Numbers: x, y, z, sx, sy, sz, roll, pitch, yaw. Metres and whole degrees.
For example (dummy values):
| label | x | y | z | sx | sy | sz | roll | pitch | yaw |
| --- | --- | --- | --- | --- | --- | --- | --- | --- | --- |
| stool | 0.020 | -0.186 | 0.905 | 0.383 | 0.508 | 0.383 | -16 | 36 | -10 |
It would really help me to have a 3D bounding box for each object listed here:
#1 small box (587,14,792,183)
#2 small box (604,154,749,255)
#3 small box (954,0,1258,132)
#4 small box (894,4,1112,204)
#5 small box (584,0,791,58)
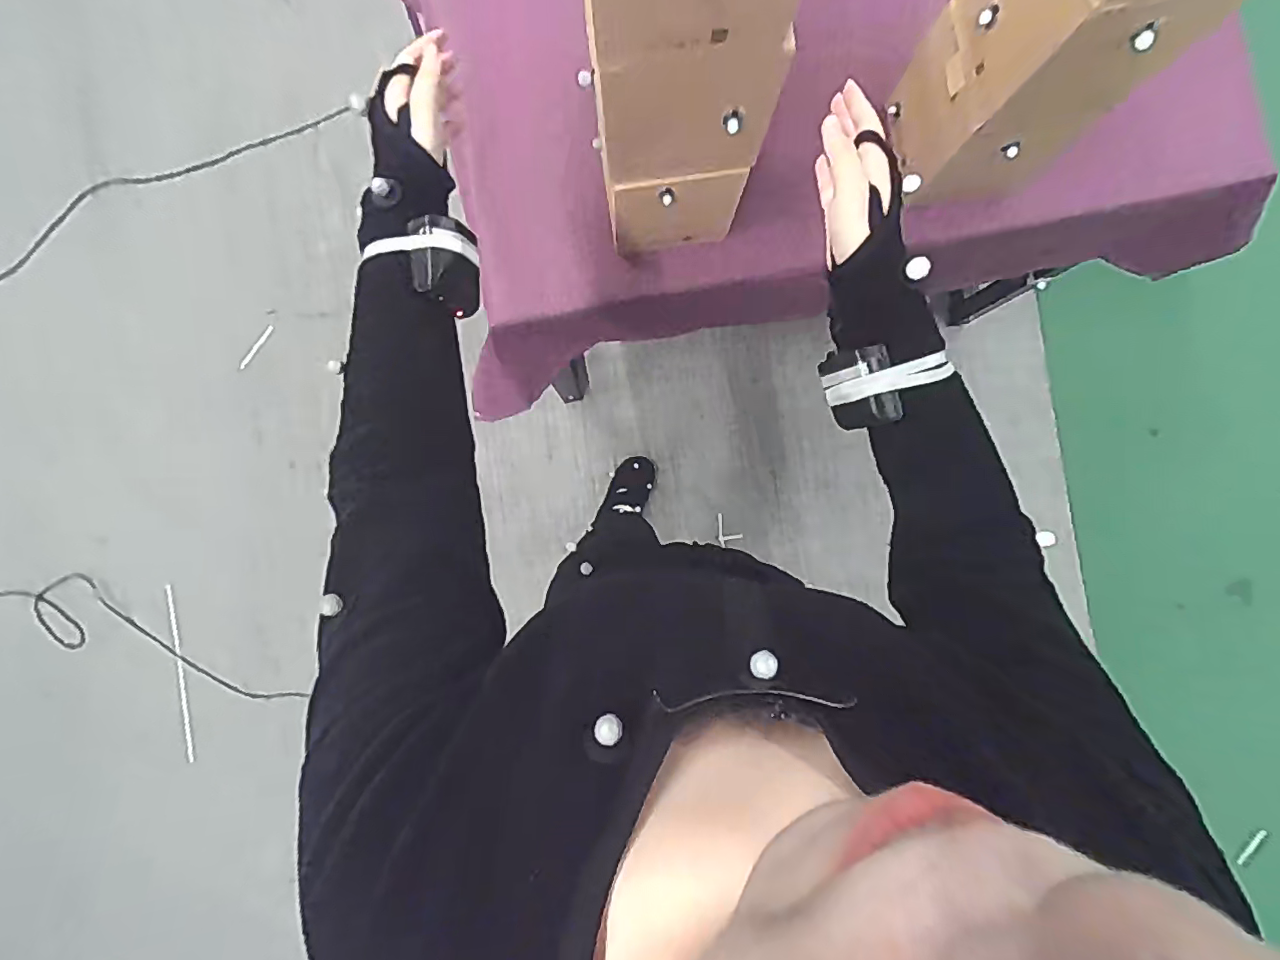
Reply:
| label | x | y | z | sx | sy | sz | roll | pitch | yaw |
| --- | --- | --- | --- | --- | --- | --- | --- | --- | --- |
| small box | 0.038 | -0.438 | 0.556 | 0.179 | 0.176 | 0.168 | -7 | 87 | -1 |
| small box | 0.035 | -0.430 | 0.719 | 0.168 | 0.176 | 0.179 | -9 | 87 | -1 |
| small box | 0.471 | -0.506 | 0.566 | 0.179 | 0.176 | 0.168 | -10 | 88 | 0 |
| small box | 0.466 | -0.499 | 0.728 | 0.179 | 0.176 | 0.168 | -9 | 88 | -2 |
| small box | 0.033 | -0.449 | 0.392 | 0.168 | 0.176 | 0.179 | -7 | 87 | -2 |
